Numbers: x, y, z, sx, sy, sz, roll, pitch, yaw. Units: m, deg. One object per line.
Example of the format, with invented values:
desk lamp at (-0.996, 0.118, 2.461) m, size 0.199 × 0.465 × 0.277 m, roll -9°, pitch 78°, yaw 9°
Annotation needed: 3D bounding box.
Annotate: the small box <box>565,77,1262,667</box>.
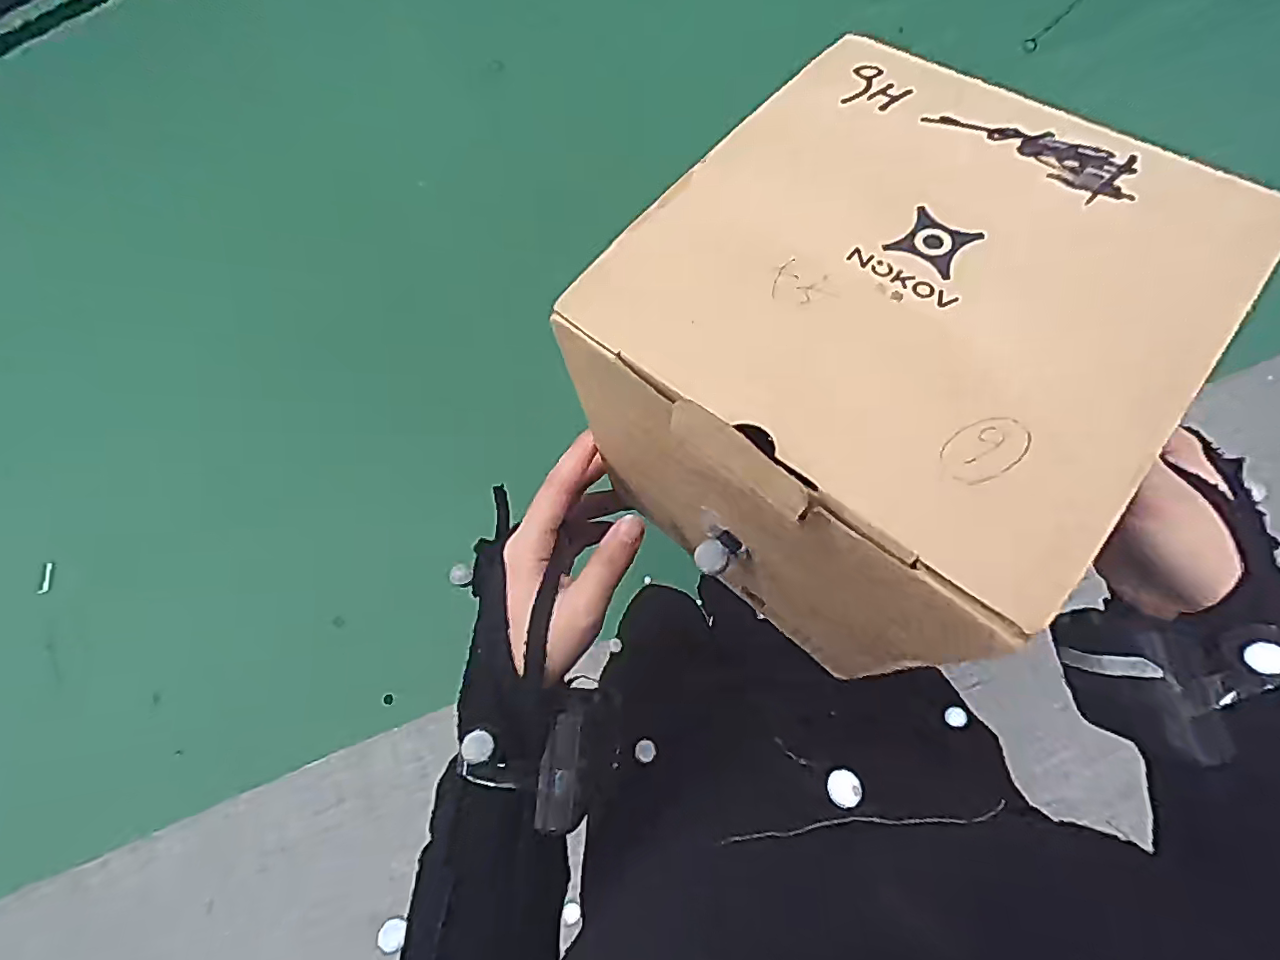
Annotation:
small box at (0.096, -0.031, 0.258) m, size 0.168 × 0.176 × 0.179 m, roll 38°, pitch 76°, yaw 18°
